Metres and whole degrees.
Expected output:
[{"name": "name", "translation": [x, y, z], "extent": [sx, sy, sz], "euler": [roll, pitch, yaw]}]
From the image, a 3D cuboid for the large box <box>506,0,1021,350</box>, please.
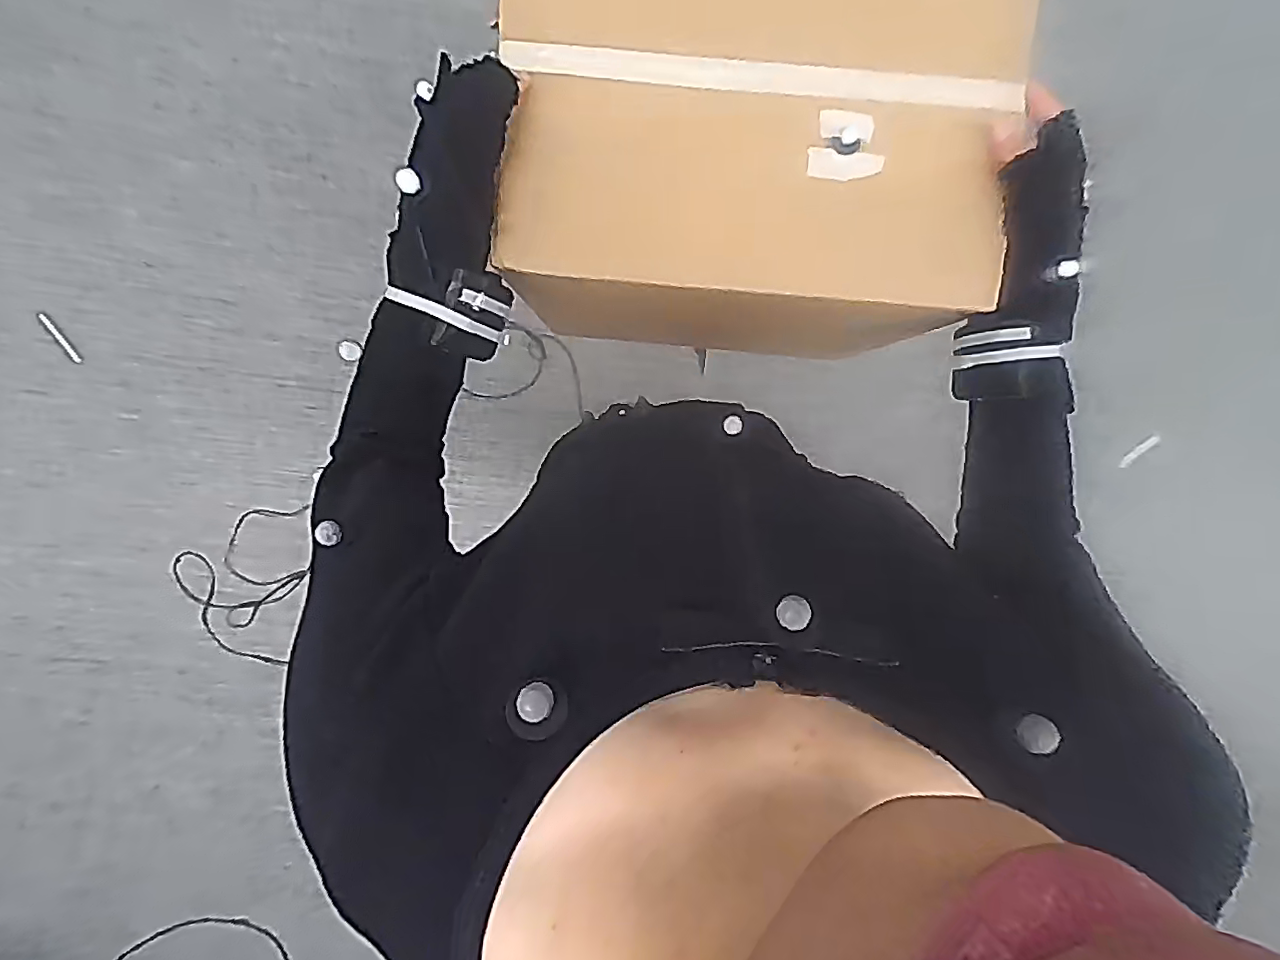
[{"name": "large box", "translation": [0.093, -0.328, 0.578], "extent": [0.408, 0.320, 0.320], "euler": [4, 96, -1]}]
